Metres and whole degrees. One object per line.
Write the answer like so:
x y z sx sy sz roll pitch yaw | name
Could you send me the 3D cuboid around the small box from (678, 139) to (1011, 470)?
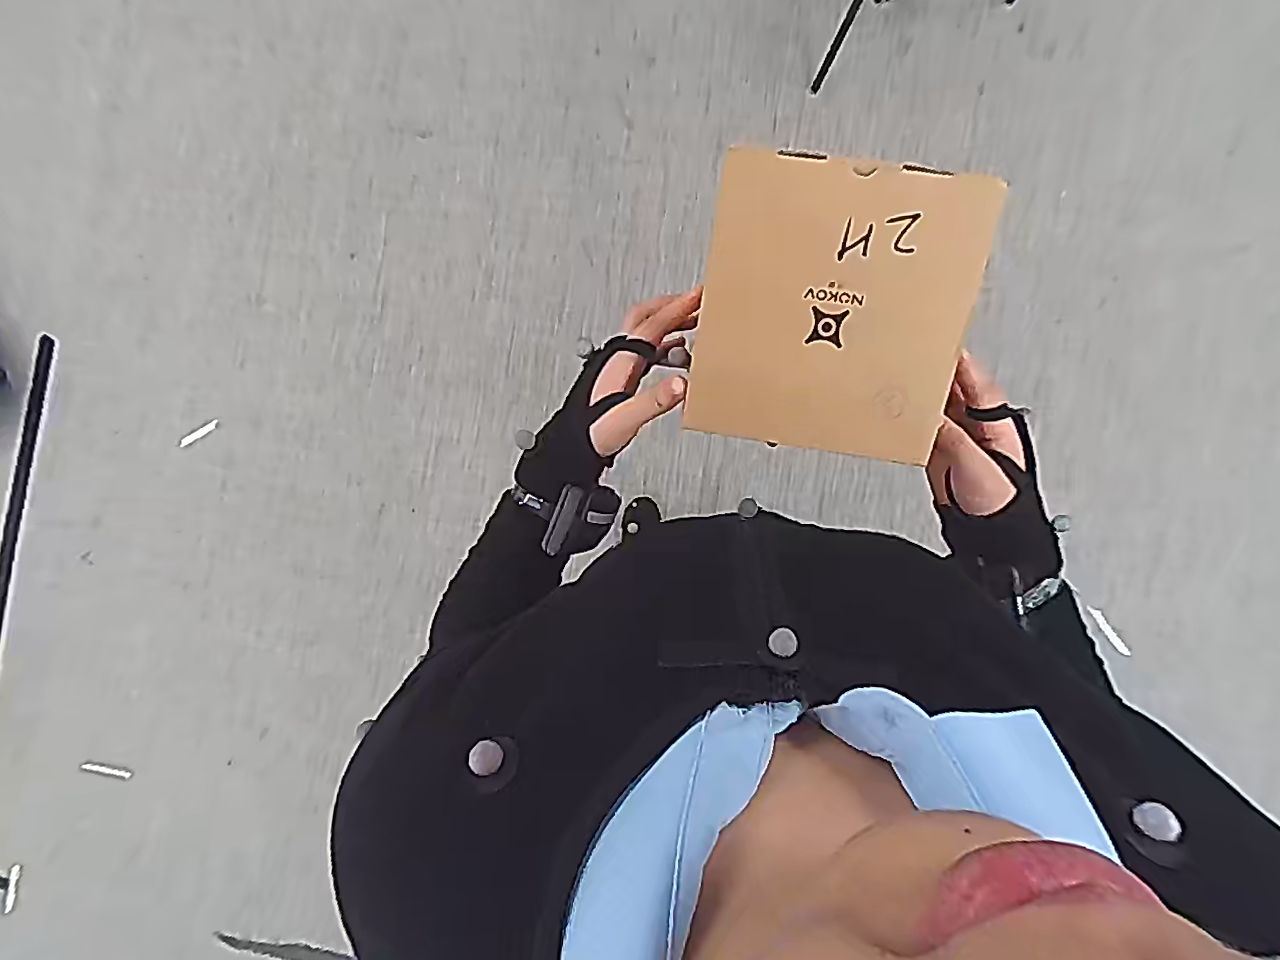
0.127 -0.121 0.408 0.168 0.176 0.179 10 104 3 | small box
